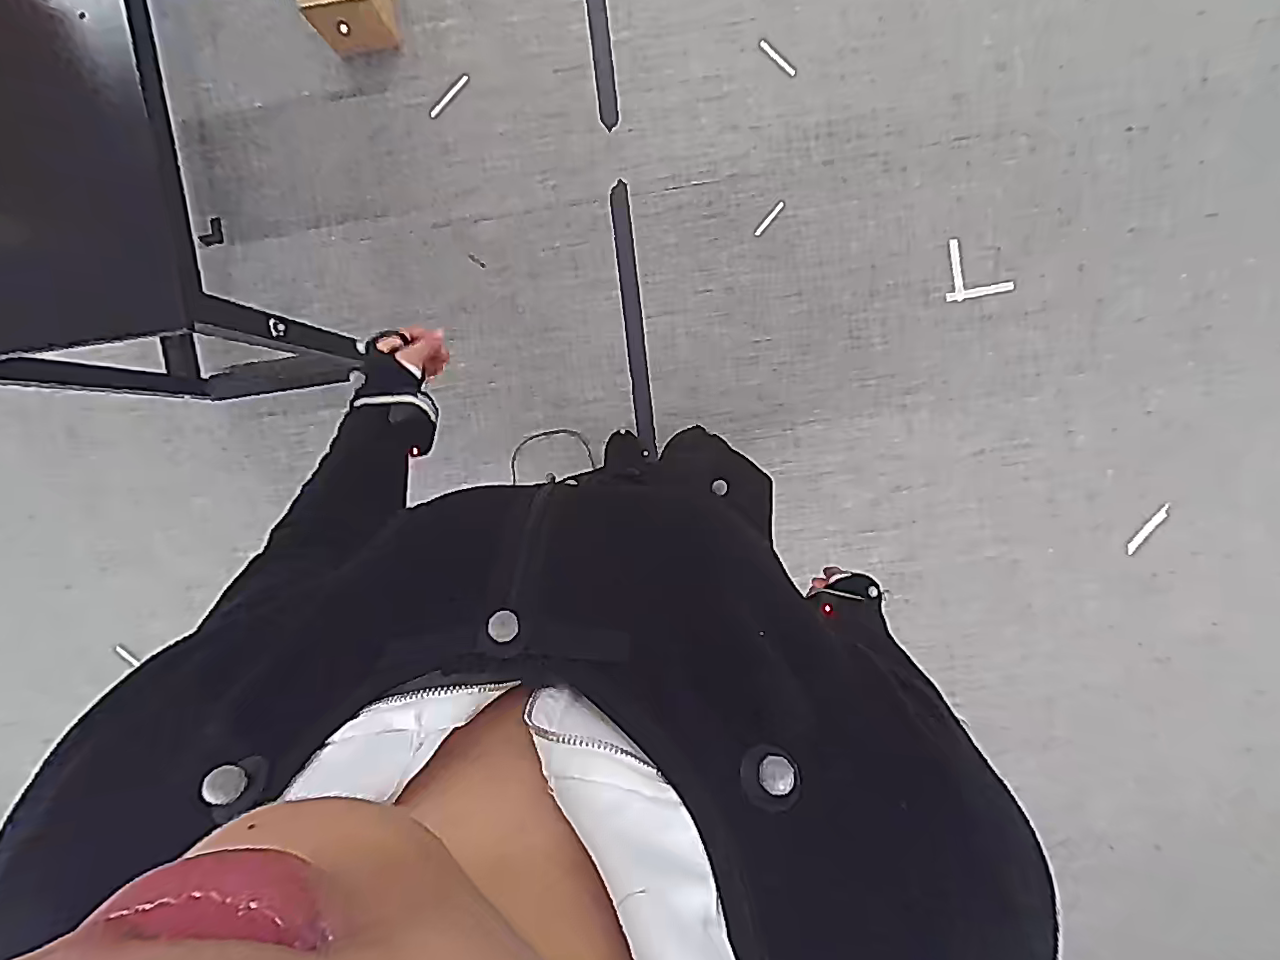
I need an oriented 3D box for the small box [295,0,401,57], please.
[{"bbox_3d":[-0.727,-1.194,1.339,0.179,0.176,0.168,-8,95,4],"label":"small box"}]
